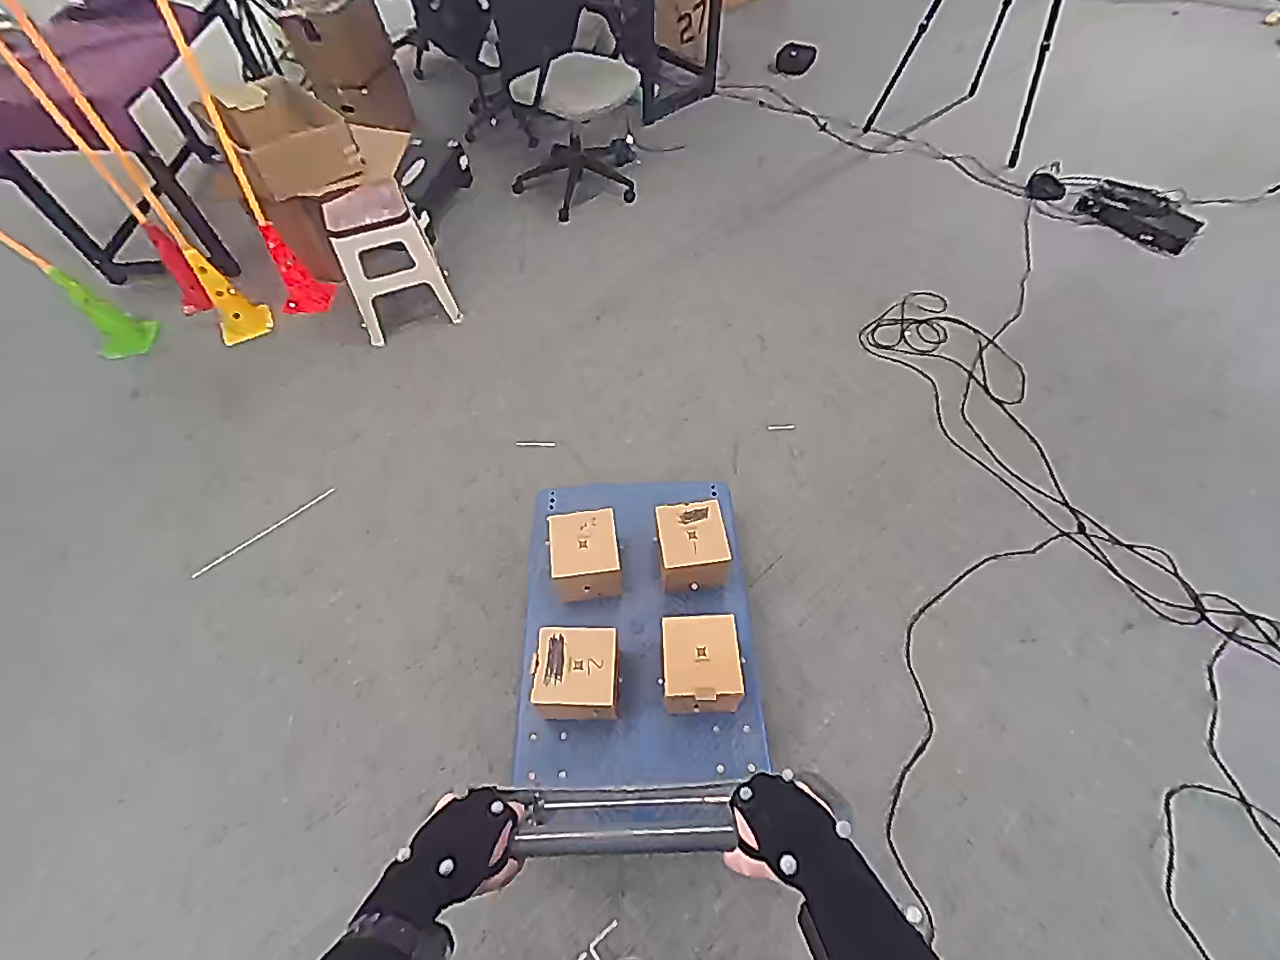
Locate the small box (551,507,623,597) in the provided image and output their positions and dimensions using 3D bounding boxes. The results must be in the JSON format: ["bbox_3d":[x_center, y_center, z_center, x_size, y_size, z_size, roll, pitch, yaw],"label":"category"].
[{"bbox_3d":[-0.134,0.192,1.398,0.168,0.176,0.179,-6,57,-3],"label":"small box"}]

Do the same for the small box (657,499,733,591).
[{"bbox_3d":[0.136,0.172,1.405,0.168,0.176,0.179,-7,58,-2],"label":"small box"}]

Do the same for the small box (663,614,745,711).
[{"bbox_3d":[0.139,0.421,1.243,0.168,0.176,0.179,-2,57,0],"label":"small box"}]
